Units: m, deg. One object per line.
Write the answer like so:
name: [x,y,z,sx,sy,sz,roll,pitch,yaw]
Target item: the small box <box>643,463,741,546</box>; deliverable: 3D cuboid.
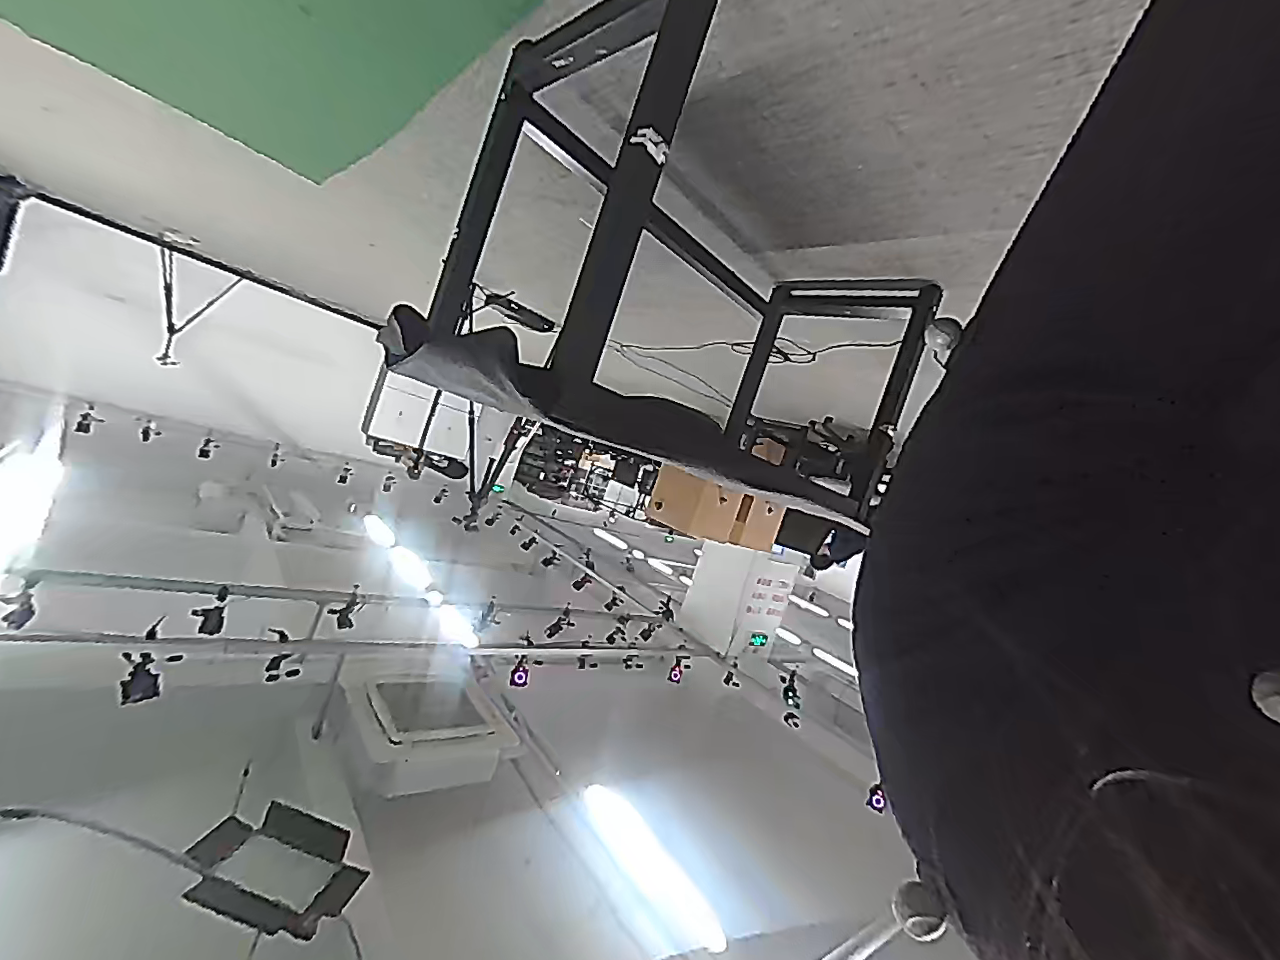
small box: [0.143,0.060,1.462,0.168,0.176,0.179,17,-177,-41]
